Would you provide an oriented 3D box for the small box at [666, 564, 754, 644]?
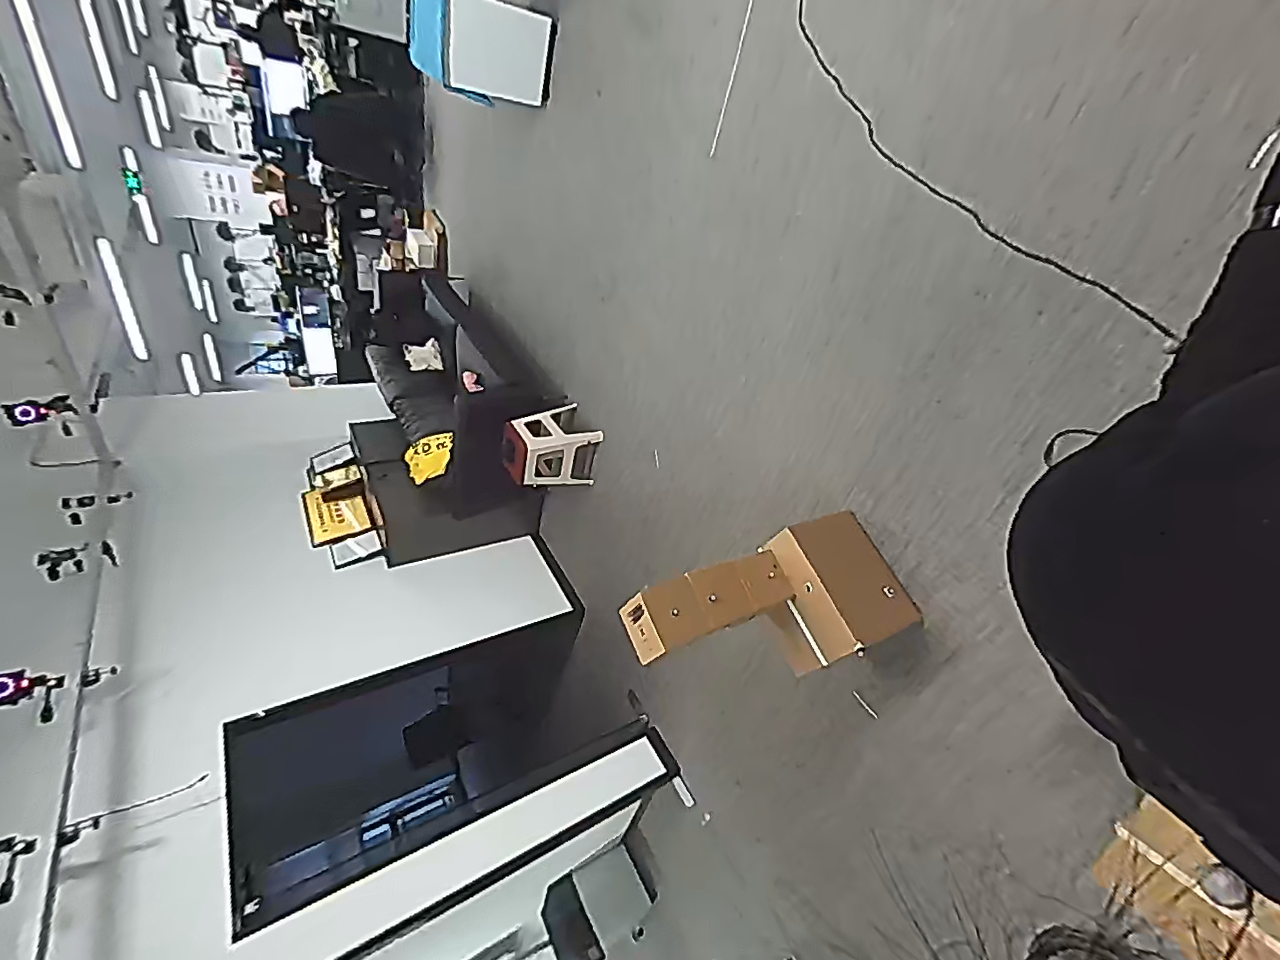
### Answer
[{"bbox_3d":[0.212,0.370,1.641,0.179,0.176,0.168,65,146,21],"label":"small box"}]

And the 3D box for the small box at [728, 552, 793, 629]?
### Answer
[{"bbox_3d":[0.351,0.351,1.722,0.168,0.176,0.179,64,146,23],"label":"small box"}]

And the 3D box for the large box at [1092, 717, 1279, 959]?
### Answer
[{"bbox_3d":[1.182,0.738,0.998,0.408,0.320,0.320,36,128,46],"label":"large box"}]
